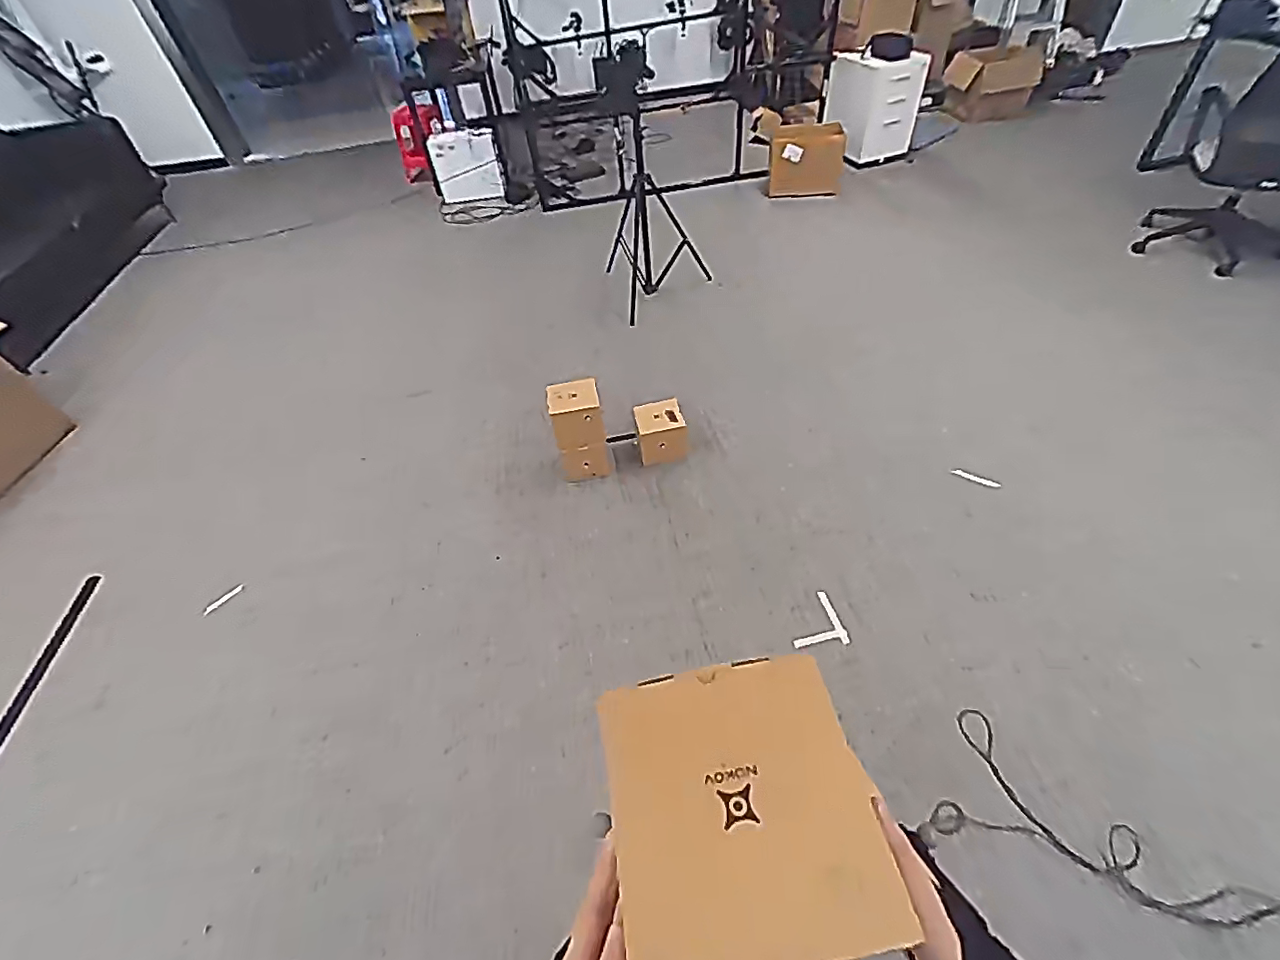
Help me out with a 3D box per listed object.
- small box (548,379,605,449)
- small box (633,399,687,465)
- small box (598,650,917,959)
[{"bbox_3d":[-0.224,-0.233,1.930,0.179,0.176,0.168,-11,46,-3],"label":"small box"},{"bbox_3d":[0.079,-0.180,2.069,0.179,0.176,0.168,-12,48,-3],"label":"small box"},{"bbox_3d":[0.069,0.259,0.407,0.168,0.176,0.179,-11,46,-3],"label":"small box"}]
